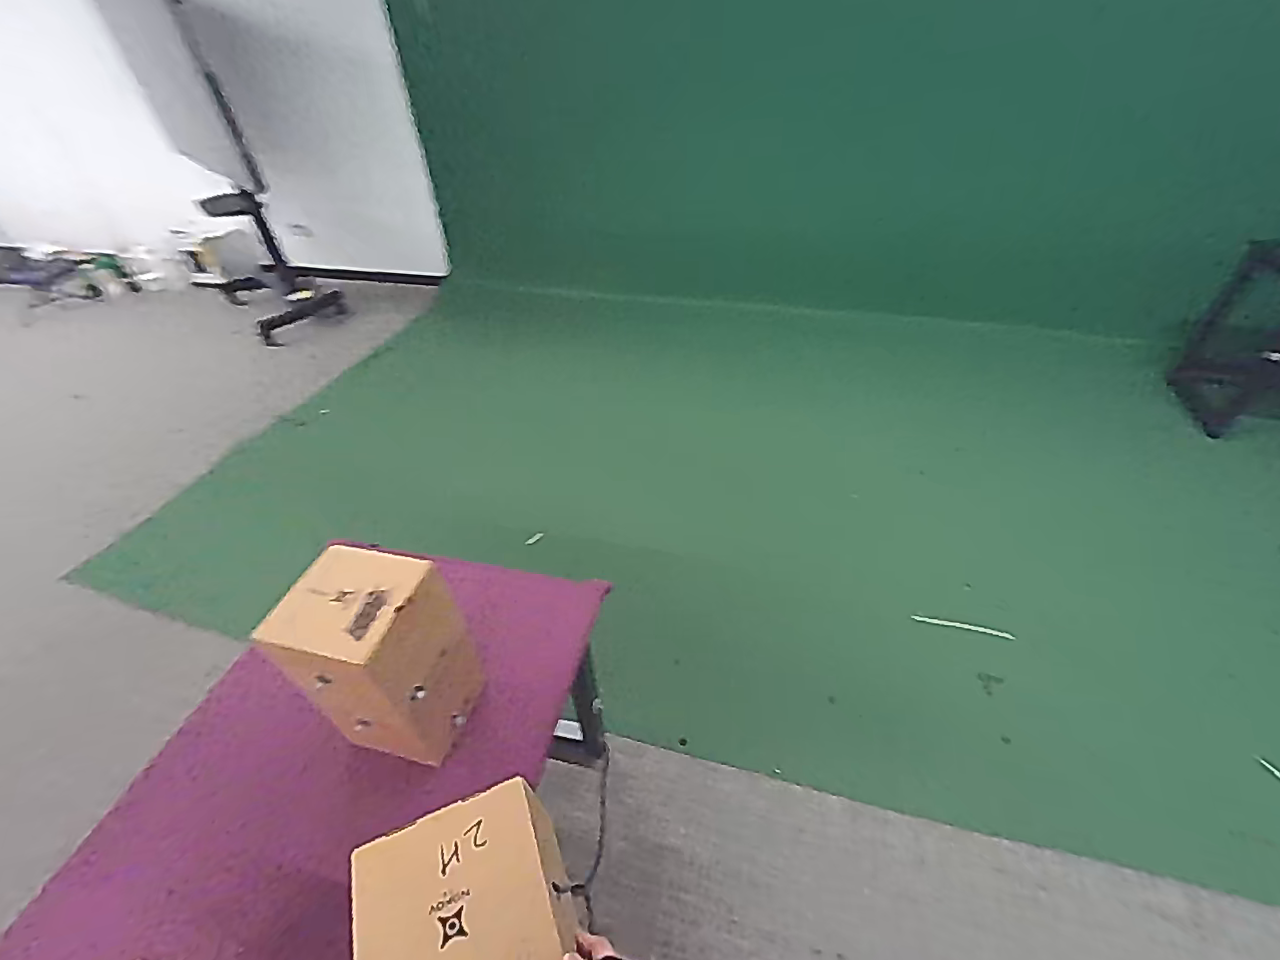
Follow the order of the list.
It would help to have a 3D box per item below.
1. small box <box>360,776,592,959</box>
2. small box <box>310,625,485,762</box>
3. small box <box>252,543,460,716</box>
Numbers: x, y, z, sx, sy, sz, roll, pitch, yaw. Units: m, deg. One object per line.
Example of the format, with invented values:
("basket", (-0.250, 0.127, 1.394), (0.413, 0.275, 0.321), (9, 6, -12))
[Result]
("small box", (-0.150, 0.429, 0.522), (0.168, 0.176, 0.179), (-18, 45, -12))
("small box", (-0.386, 0.338, 0.894), (0.179, 0.176, 0.168), (8, 44, 14))
("small box", (-0.392, 0.217, 0.784), (0.179, 0.176, 0.168), (7, 44, 14))
